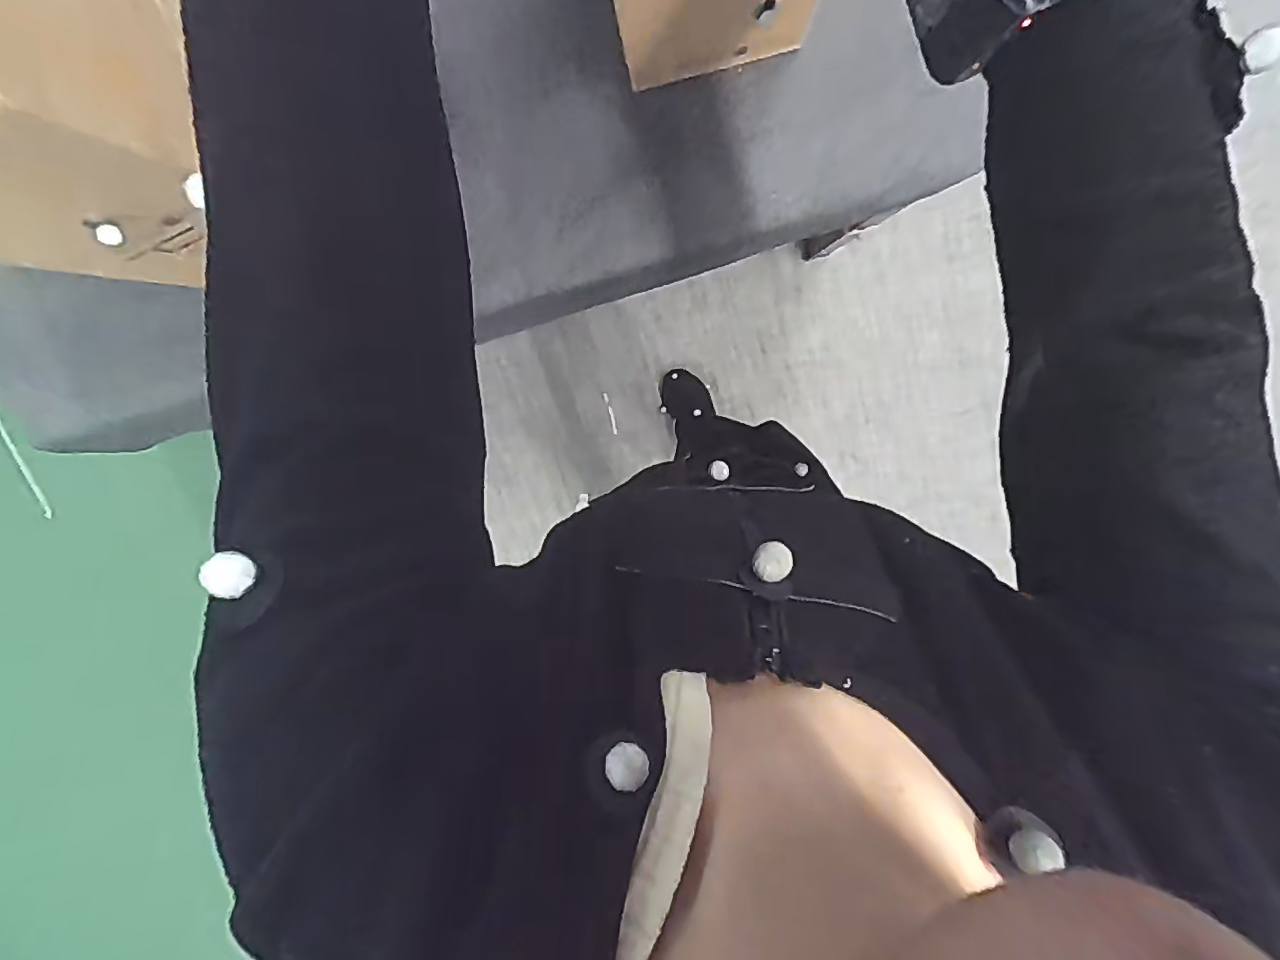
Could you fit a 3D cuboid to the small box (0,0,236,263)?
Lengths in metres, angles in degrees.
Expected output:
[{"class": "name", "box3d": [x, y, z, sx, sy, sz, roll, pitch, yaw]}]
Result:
[{"class": "small box", "box3d": [-0.421, -0.261, 0.342, 0.168, 0.176, 0.179, -20, 102, 10]}]

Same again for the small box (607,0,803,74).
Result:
[{"class": "small box", "box3d": [0.045, -0.460, 0.426, 0.168, 0.176, 0.179, -10, 103, 6]}]
